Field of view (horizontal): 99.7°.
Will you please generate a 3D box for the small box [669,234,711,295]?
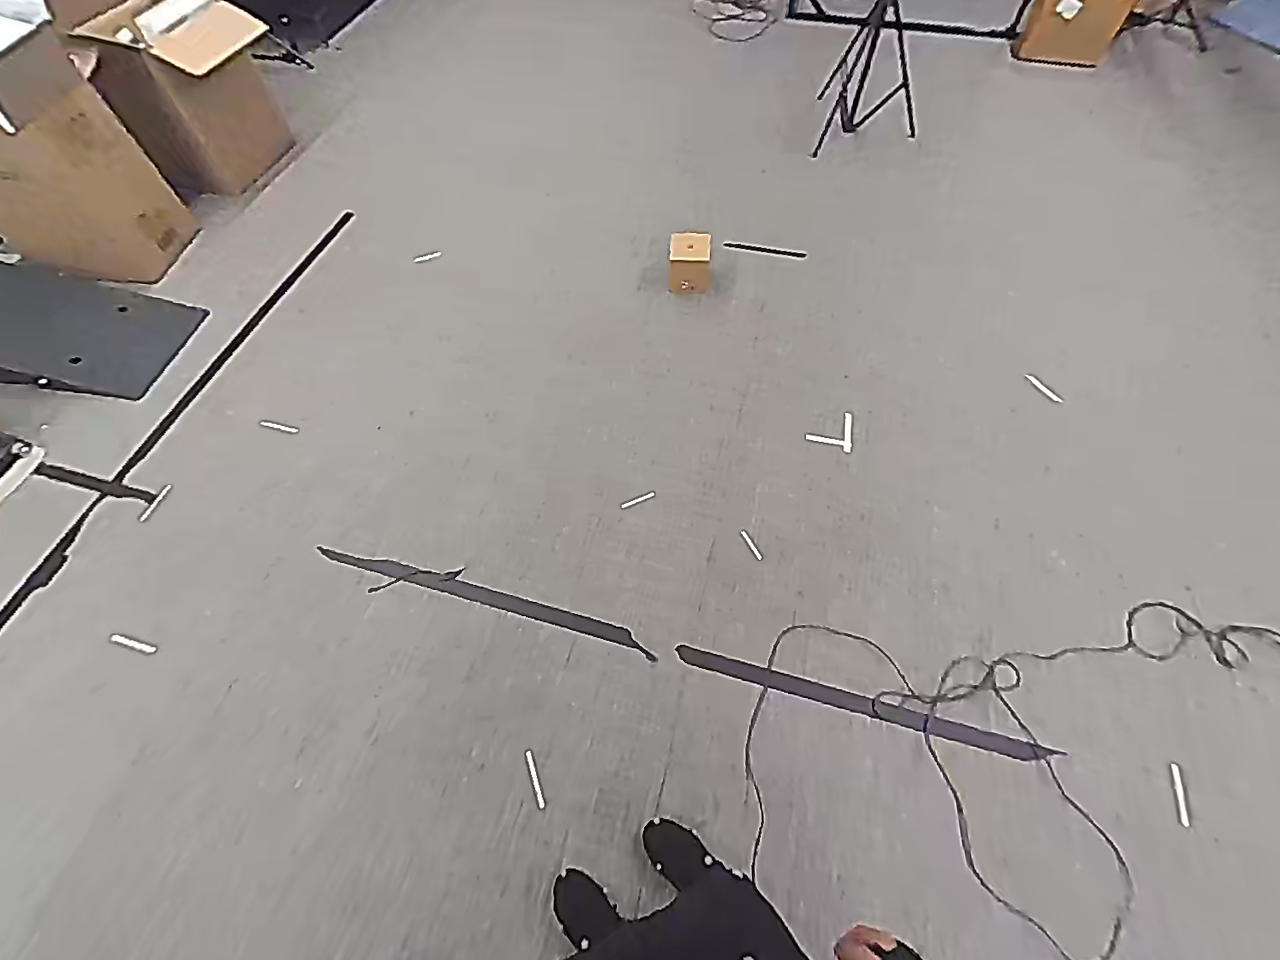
[{"bbox_3d":[0.212,-0.911,2.286,0.168,0.176,0.179,3,59,4],"label":"small box"}]
